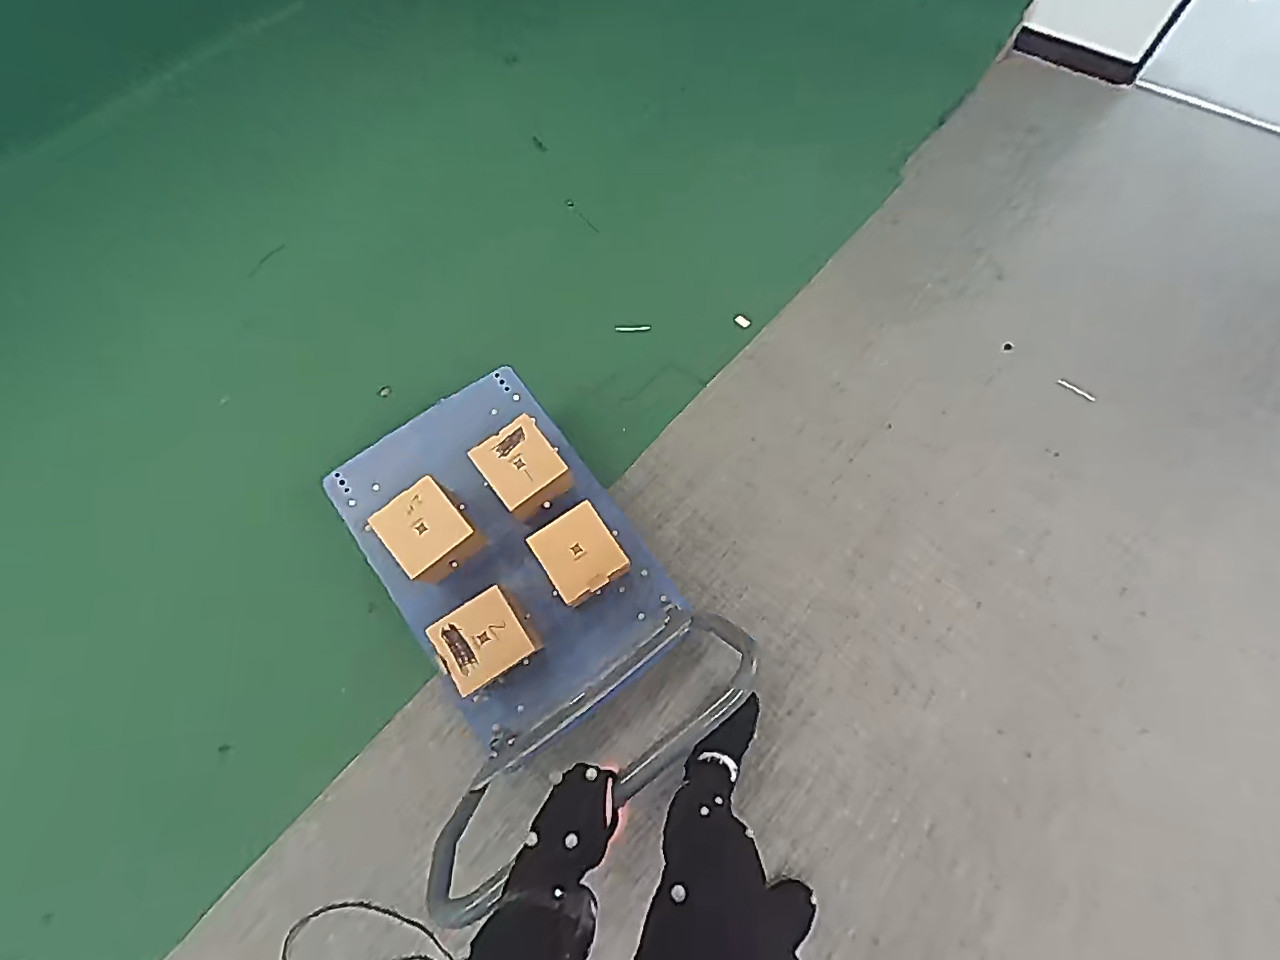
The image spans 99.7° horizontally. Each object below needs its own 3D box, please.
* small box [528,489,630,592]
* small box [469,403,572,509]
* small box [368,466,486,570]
[{"bbox_3d":[-0.140,0.151,1.271,0.168,0.176,0.179,-33,81,-9],"label":"small box"},{"bbox_3d":[-0.281,-0.050,1.311,0.168,0.176,0.179,-37,82,-9],"label":"small box"},{"bbox_3d":[-0.486,0.096,1.267,0.168,0.176,0.179,-39,81,-11],"label":"small box"}]
